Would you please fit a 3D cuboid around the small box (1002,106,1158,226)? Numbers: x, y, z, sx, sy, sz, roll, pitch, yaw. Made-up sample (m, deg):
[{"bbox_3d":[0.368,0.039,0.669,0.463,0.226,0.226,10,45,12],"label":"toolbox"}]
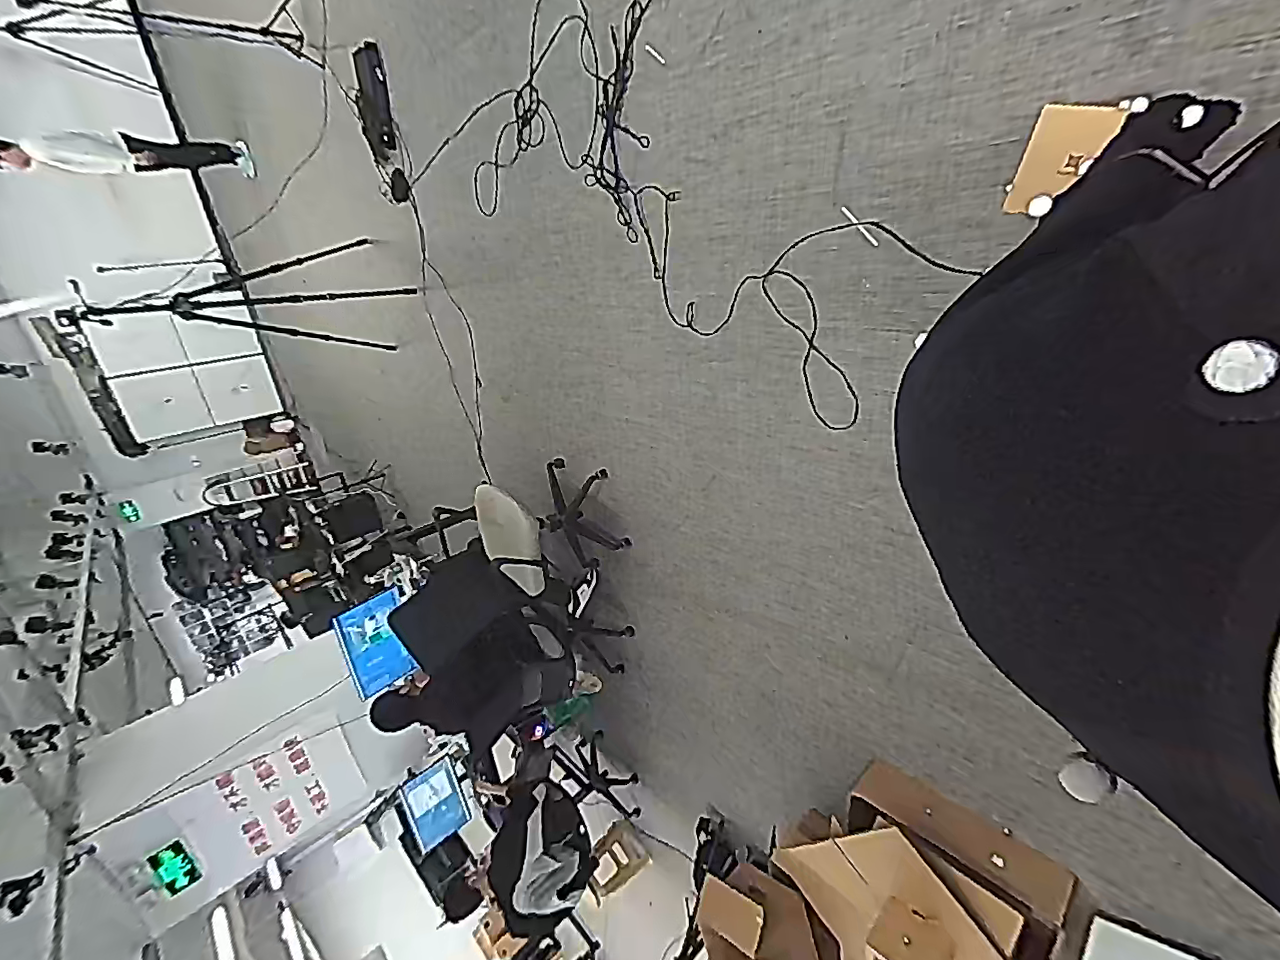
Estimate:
[{"bbox_3d":[0.833,-0.593,1.023,0.168,0.176,0.179,32,132,35],"label":"small box"}]
